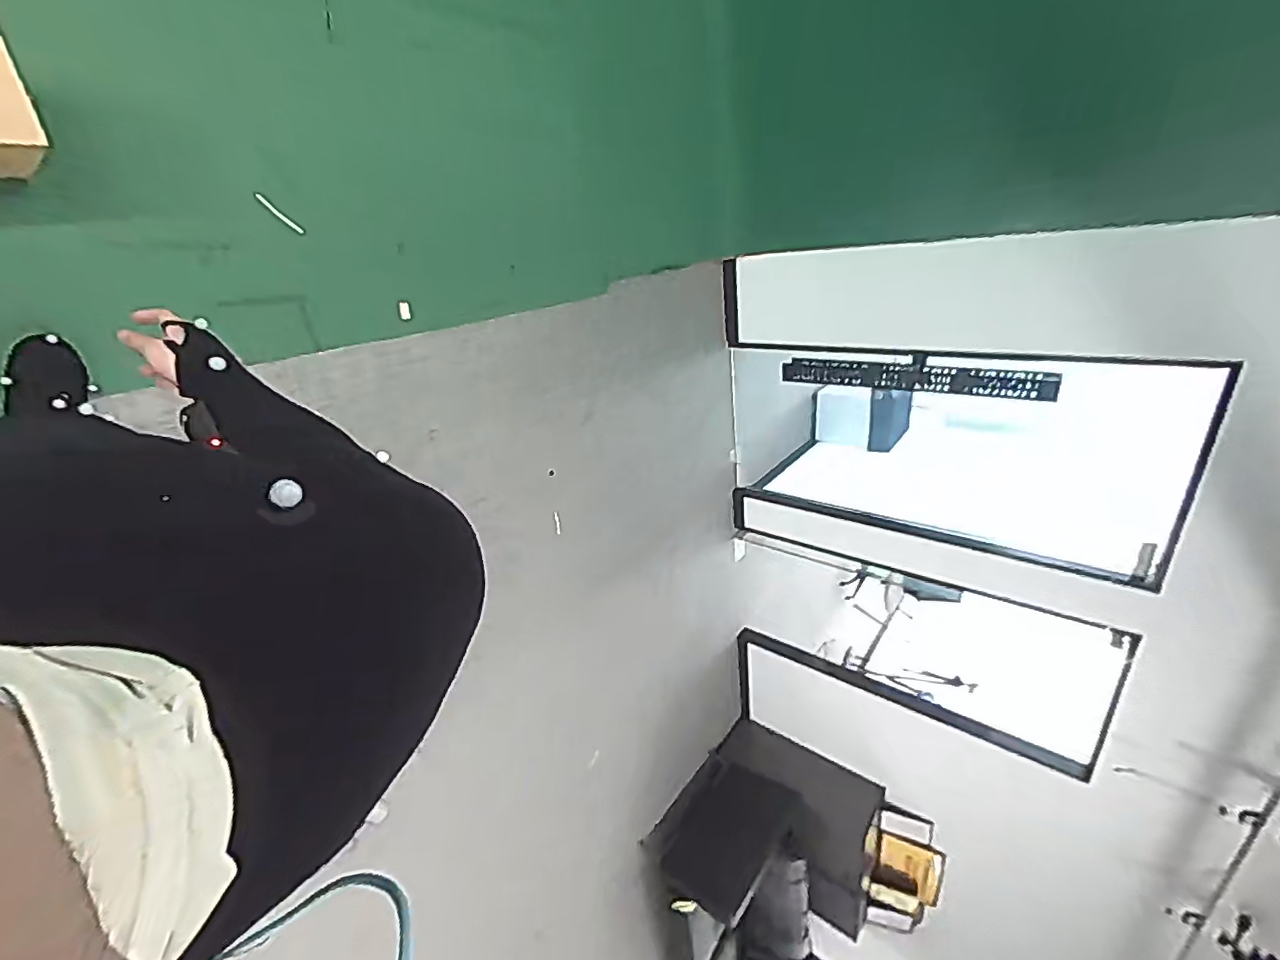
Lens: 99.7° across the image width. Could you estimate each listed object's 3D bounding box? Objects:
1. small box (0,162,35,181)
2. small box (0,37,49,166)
[{"bbox_3d":[-1.172,-0.612,0.898,0.168,0.176,0.179,-30,123,-44],"label":"small box"},{"bbox_3d":[-1.042,-0.582,0.801,0.168,0.176,0.179,-31,124,-44],"label":"small box"}]
